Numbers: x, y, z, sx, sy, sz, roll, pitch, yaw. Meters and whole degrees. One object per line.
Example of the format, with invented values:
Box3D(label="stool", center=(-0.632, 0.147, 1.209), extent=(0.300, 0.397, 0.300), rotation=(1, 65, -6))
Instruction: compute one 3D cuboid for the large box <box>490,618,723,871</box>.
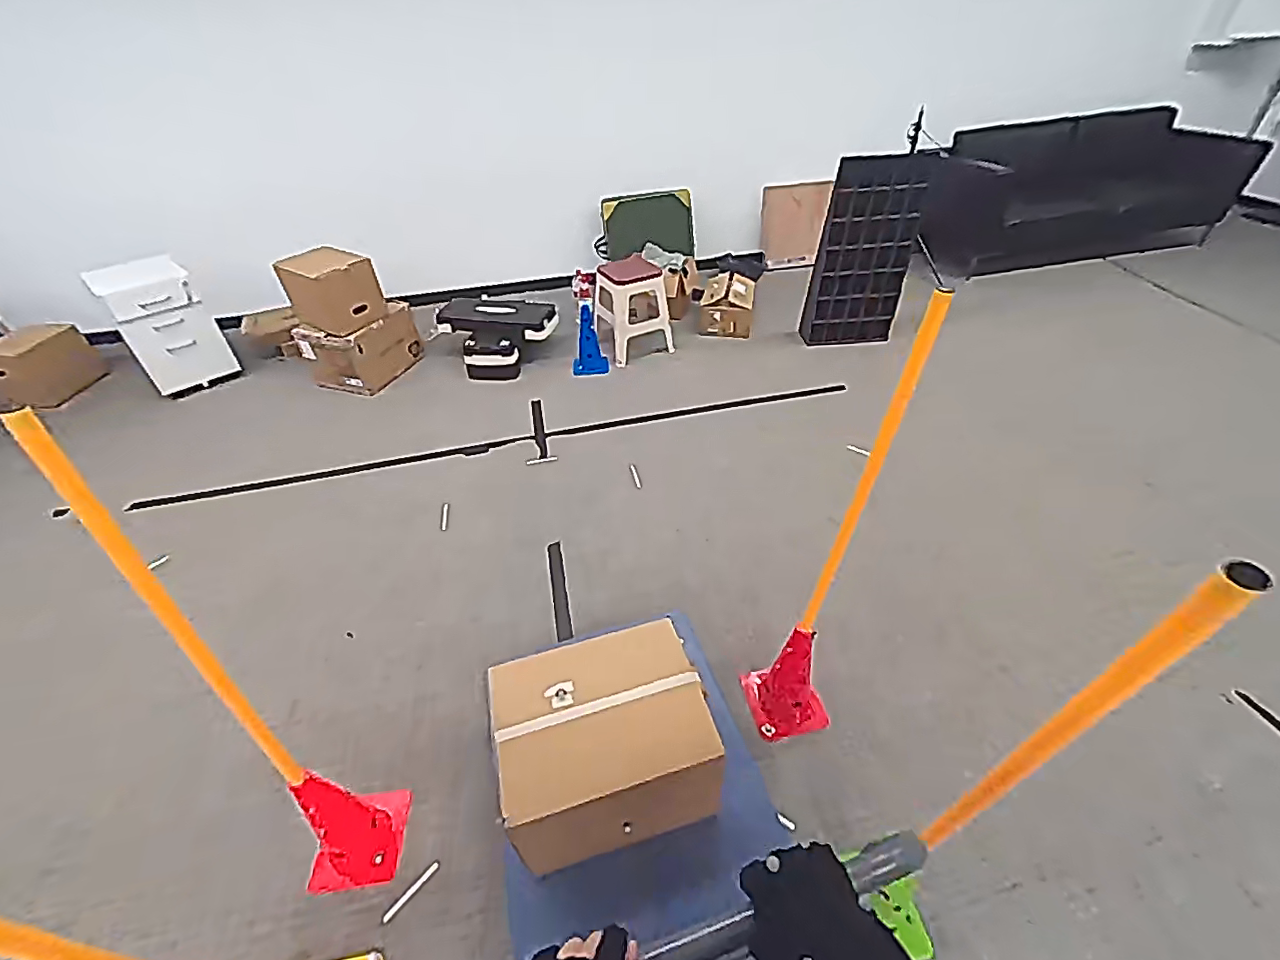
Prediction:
Box3D(label="large box", center=(-0.072, 0.557, 1.157), extent=(0.408, 0.320, 0.320), rotation=(-14, 42, -11))

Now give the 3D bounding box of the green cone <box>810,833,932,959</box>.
Box3D(label="green cone", center=(0.493, 0.790, 1.068), extent=(0.202, 0.368, 0.200), rotation=(-7, 40, -6))

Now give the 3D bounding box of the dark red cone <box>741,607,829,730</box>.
Box3D(label="dark red cone", center=(0.405, 0.473, 1.425), extent=(0.201, 0.394, 0.202), rotation=(-9, 41, -10))

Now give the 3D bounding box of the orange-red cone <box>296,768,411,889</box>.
Box3D(label="orange-red cone", center=(-0.677, 0.736, 1.206), extent=(0.198, 0.360, 0.199), rotation=(-4, 38, -3))
